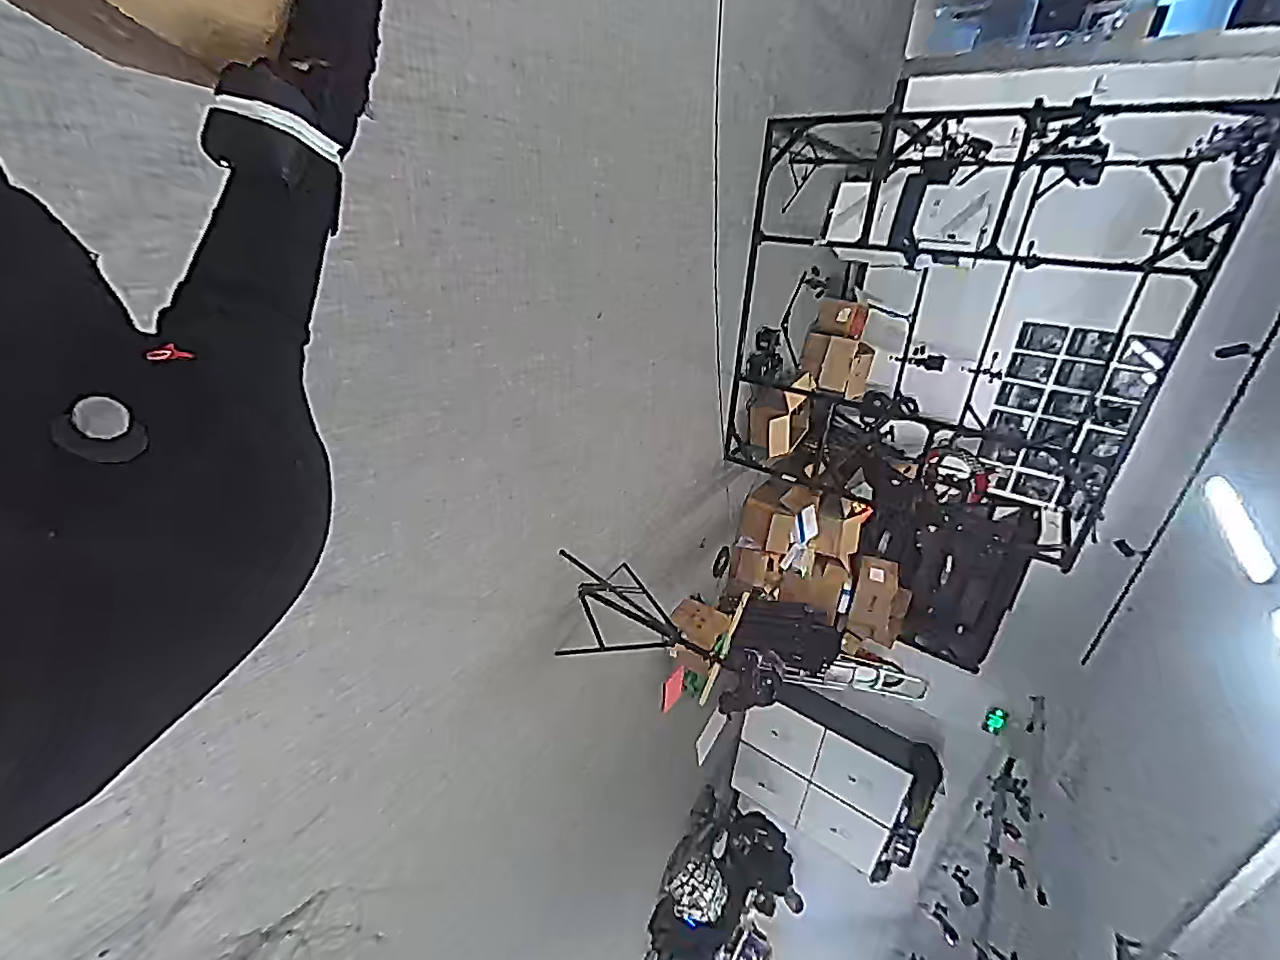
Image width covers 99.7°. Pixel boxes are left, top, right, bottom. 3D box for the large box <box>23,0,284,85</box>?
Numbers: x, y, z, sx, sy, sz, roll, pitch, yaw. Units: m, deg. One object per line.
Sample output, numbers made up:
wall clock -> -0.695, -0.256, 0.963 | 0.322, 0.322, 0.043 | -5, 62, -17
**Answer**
large box -> -0.437, -0.513, 0.280 | 0.408, 0.320, 0.320 | 11, 108, -63
